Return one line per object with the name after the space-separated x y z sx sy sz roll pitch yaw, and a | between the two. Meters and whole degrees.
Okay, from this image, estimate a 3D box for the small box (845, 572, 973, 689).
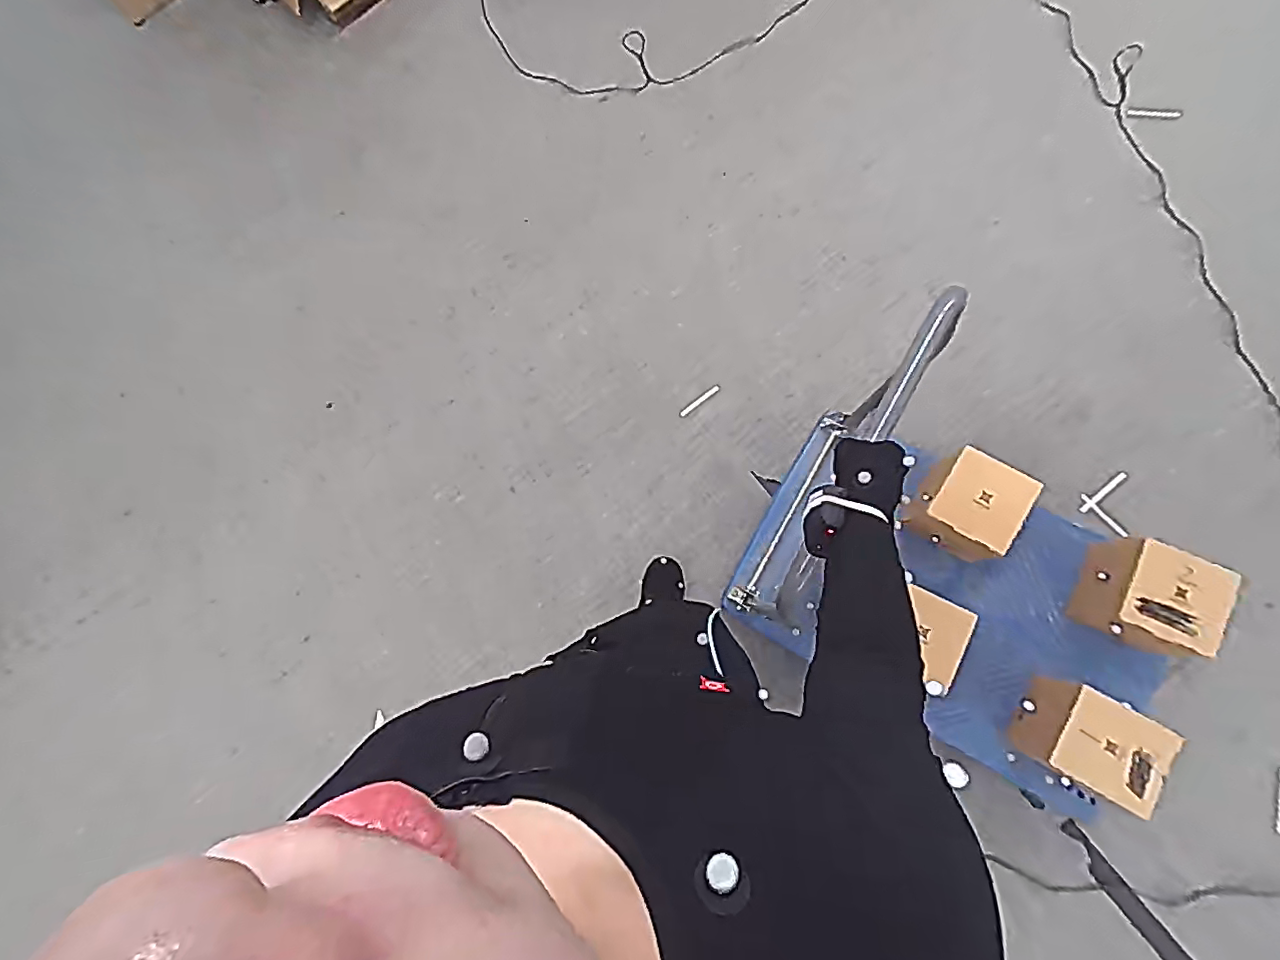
0.560 0.314 1.154 0.168 0.176 0.179 27 82 12 | small box

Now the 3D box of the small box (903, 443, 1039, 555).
0.715 0.048 1.193 0.168 0.176 0.179 32 85 12 | small box

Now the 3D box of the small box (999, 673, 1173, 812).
0.870 0.504 1.073 0.179 0.176 0.168 30 83 13 | small box
